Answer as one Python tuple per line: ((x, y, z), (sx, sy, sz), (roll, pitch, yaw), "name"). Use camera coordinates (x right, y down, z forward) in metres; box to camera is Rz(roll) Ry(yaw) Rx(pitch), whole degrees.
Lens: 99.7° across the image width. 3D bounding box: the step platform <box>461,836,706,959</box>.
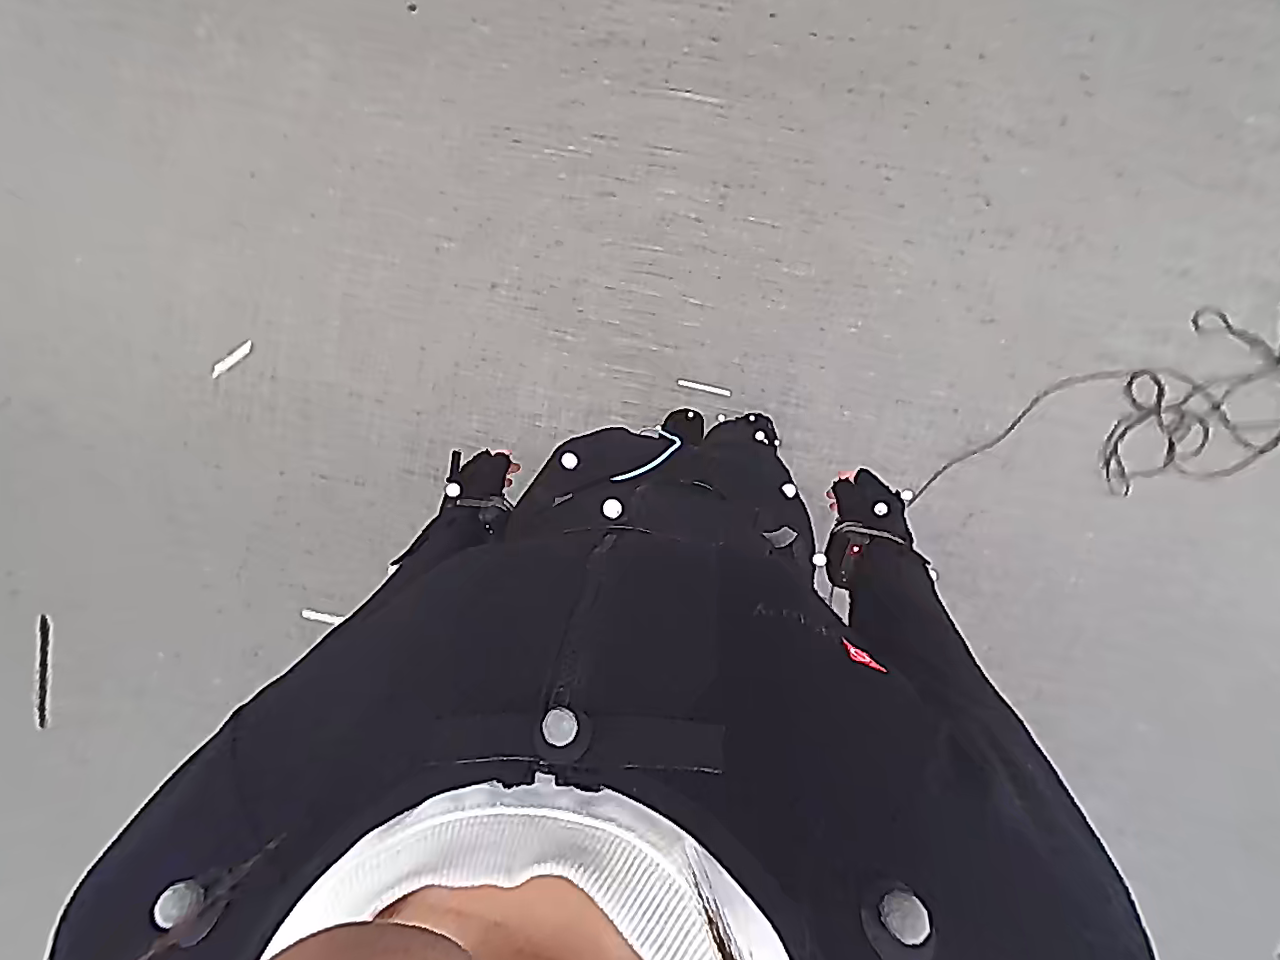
((-0.159, 1.291, 1.551), (0.684, 0.204, 0.286), (12, 99, 5), "step platform")
